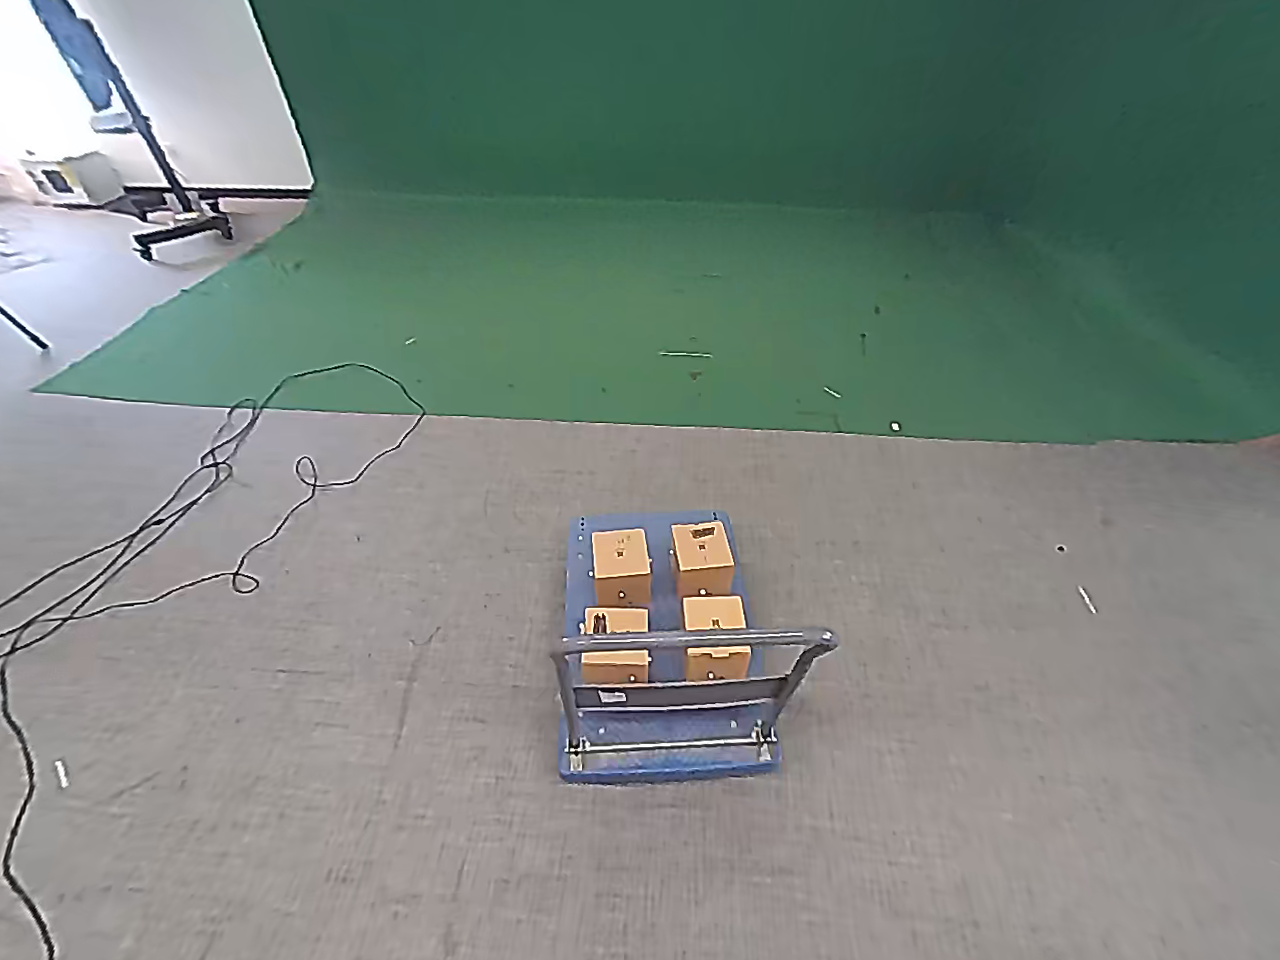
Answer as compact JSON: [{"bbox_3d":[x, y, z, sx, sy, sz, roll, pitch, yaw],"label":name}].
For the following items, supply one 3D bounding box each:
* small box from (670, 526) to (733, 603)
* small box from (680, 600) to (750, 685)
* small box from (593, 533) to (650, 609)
[{"bbox_3d":[0.191,0.271,1.727,0.168,0.176,0.179,-5,46,-4],"label":"small box"},{"bbox_3d":[0.206,0.461,1.536,0.168,0.176,0.179,-1,45,-2],"label":"small box"},{"bbox_3d":[-0.059,0.292,1.705,0.168,0.176,0.179,-4,45,-5],"label":"small box"}]
